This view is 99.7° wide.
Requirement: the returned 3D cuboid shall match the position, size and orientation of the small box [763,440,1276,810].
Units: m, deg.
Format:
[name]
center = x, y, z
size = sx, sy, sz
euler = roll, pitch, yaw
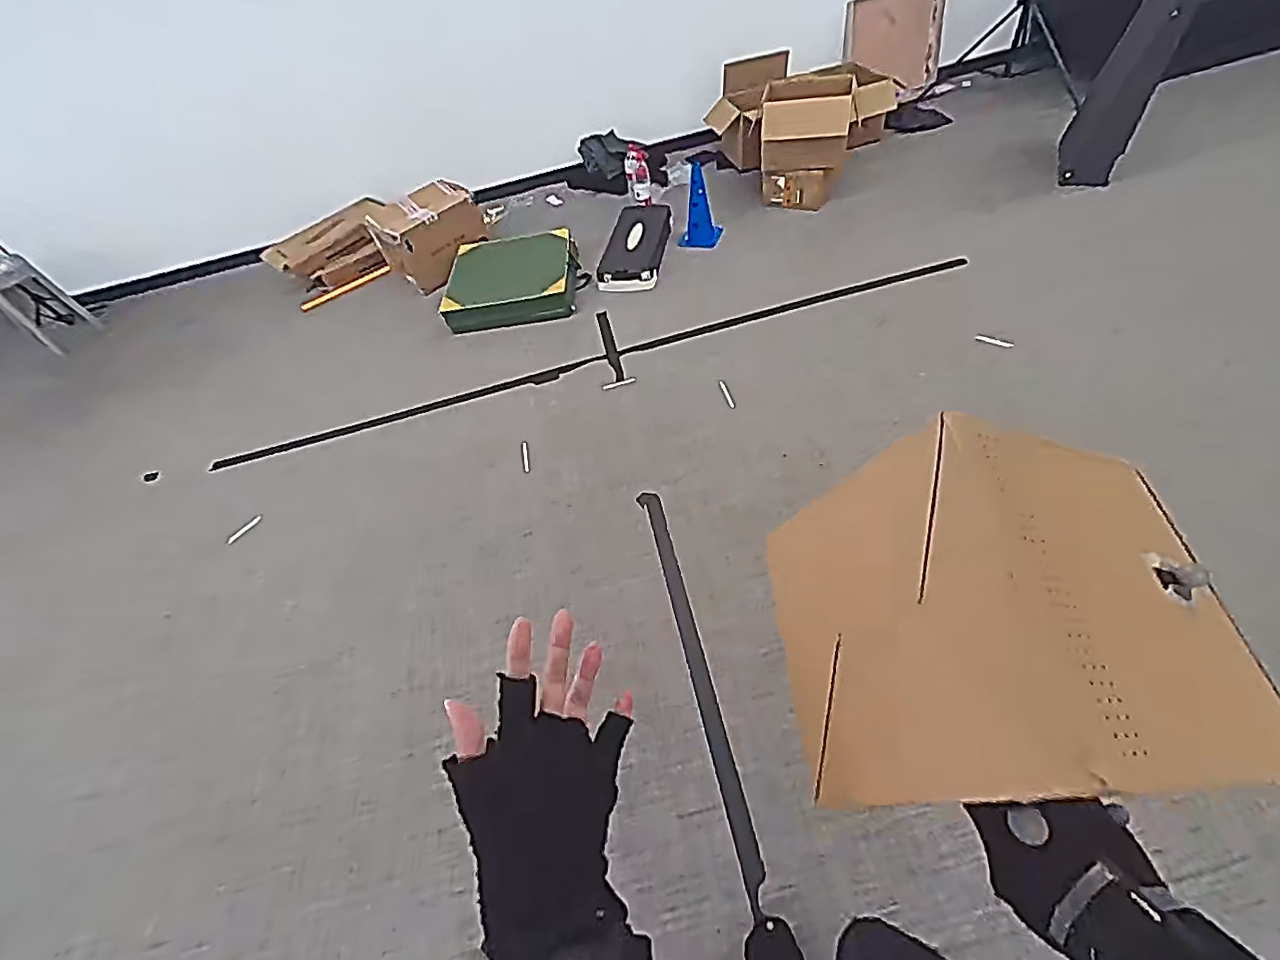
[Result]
[small box]
center = 0.197, 0.095, 0.337
size = 0.176, 0.168, 0.179
euler = 9, 56, -20
